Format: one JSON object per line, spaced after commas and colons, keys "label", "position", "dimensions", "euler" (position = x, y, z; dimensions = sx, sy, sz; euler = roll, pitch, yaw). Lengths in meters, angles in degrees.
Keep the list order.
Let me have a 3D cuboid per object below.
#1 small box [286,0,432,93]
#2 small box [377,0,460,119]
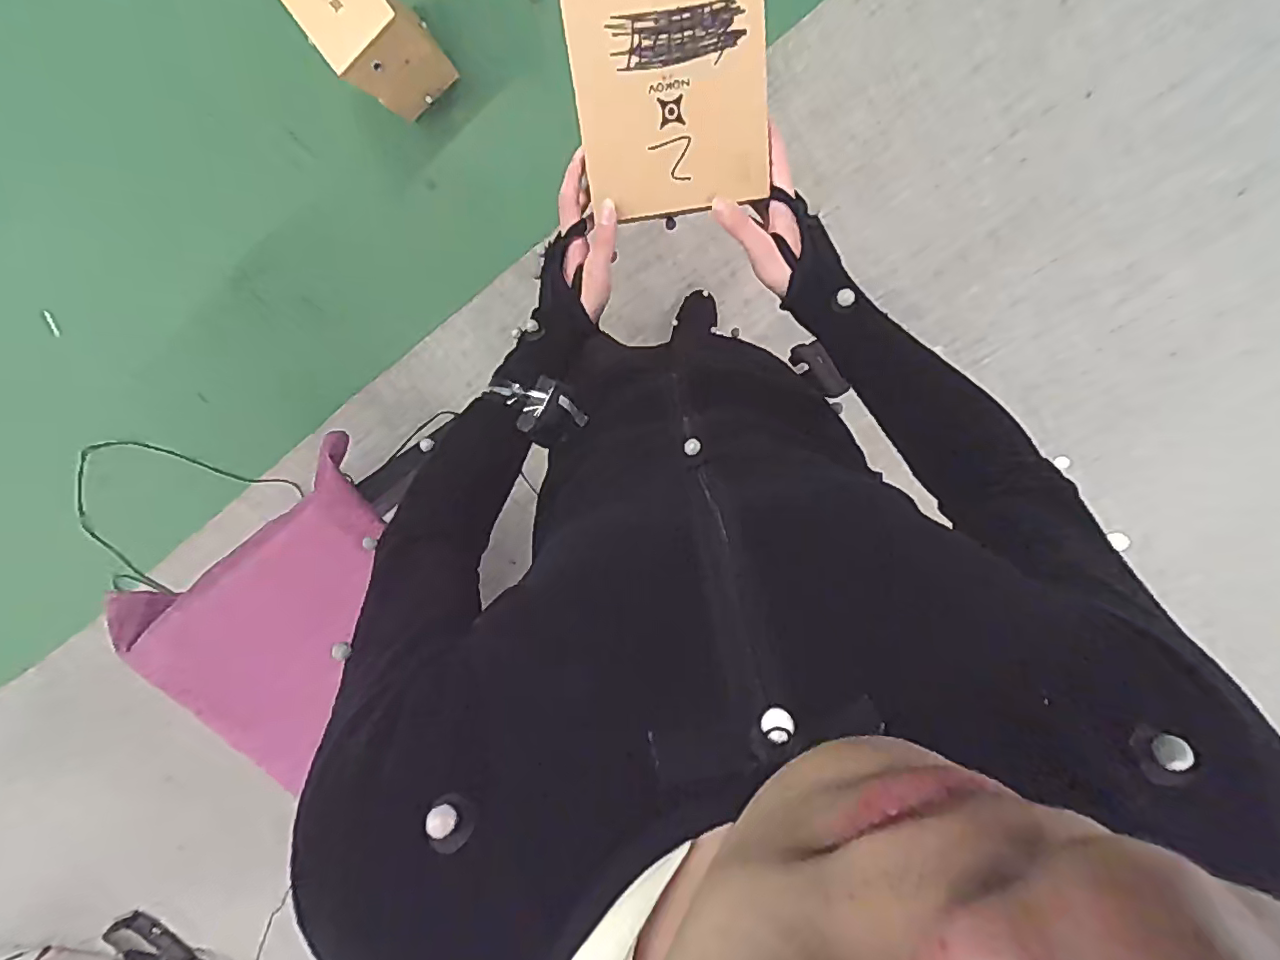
{"label": "small box", "position": [-0.562, -0.930, 1.097], "dimensions": [0.168, 0.176, 0.179], "euler": [-33, 104, 15]}
{"label": "small box", "position": [-0.553, -0.985, 1.248], "dimensions": [0.168, 0.176, 0.179], "euler": [-33, 106, 15]}
